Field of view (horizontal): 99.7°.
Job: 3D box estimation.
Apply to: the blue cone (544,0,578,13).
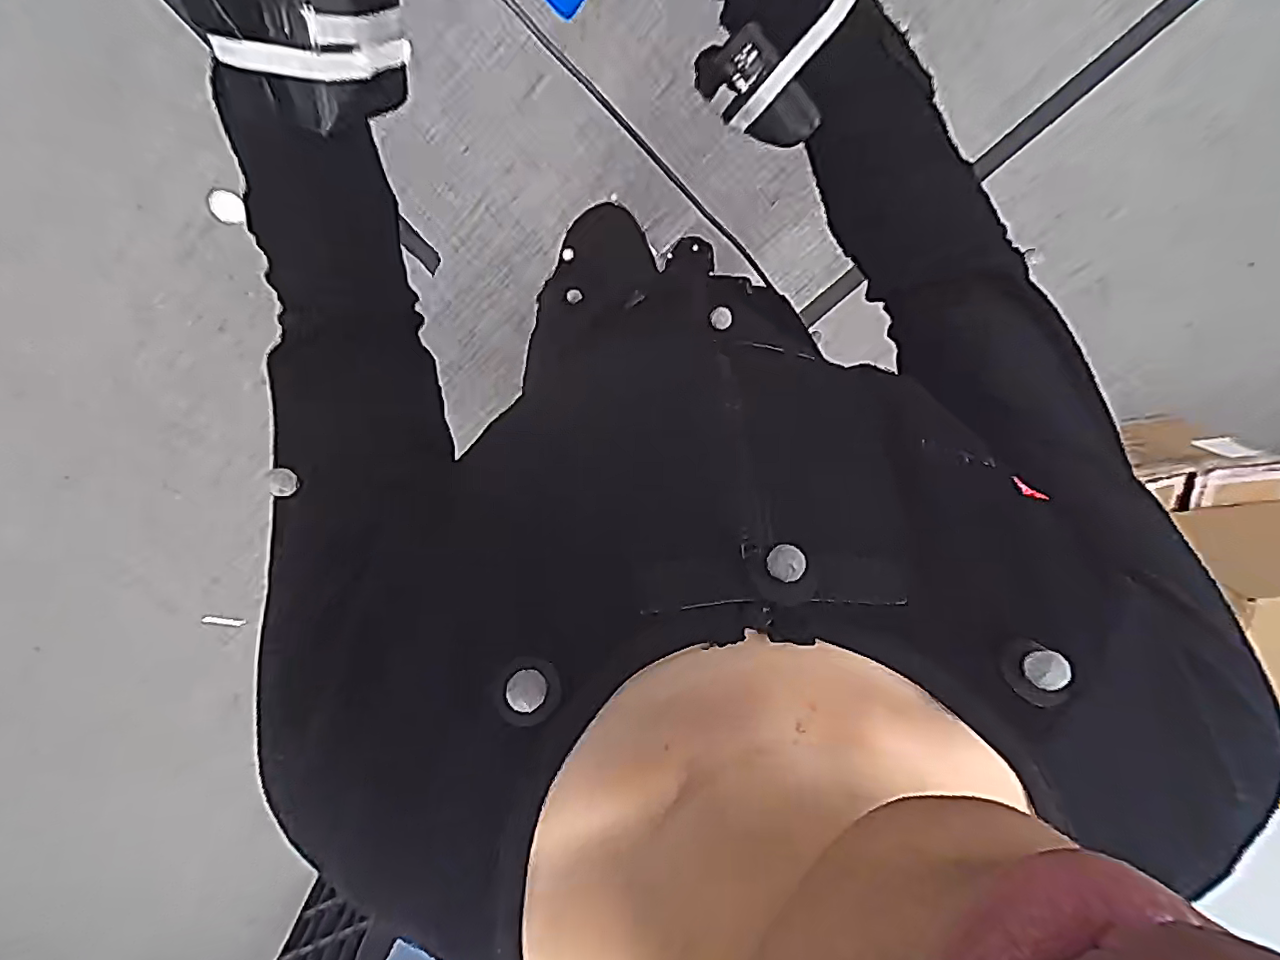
[{"bbox_3d":[-0.161,-0.984,0.898,0.193,0.380,0.192,40,109,-17],"label":"blue cone"}]
